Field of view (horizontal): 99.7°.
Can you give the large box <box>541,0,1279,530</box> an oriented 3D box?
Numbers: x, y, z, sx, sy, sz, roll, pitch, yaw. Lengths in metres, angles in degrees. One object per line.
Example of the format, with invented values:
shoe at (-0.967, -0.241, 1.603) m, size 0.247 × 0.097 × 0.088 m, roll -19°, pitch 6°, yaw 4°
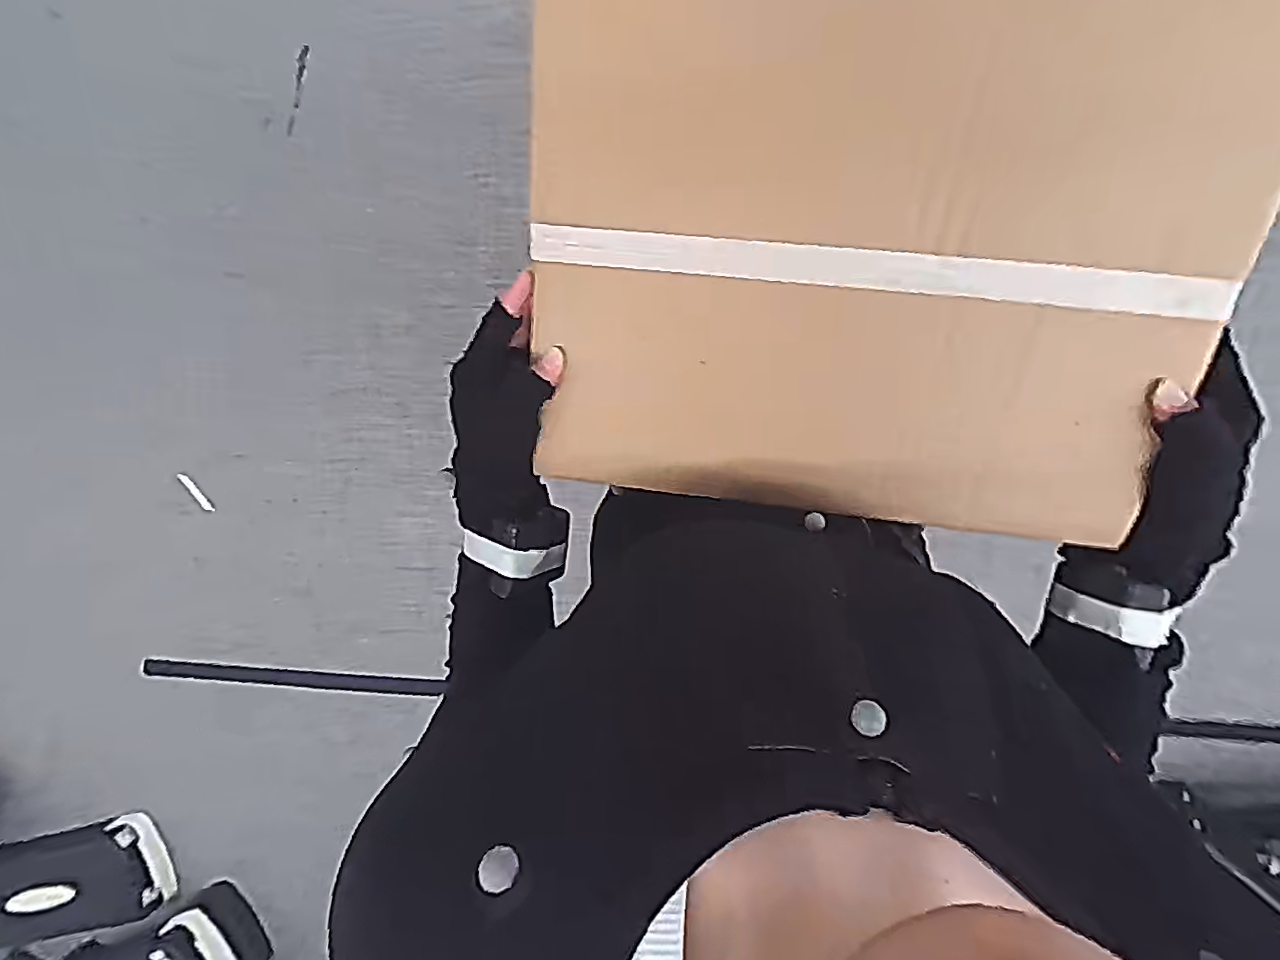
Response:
large box at (0.149, -0.179, 0.473) m, size 0.408 × 0.320 × 0.320 m, roll 7°, pitch 112°, yaw 4°
